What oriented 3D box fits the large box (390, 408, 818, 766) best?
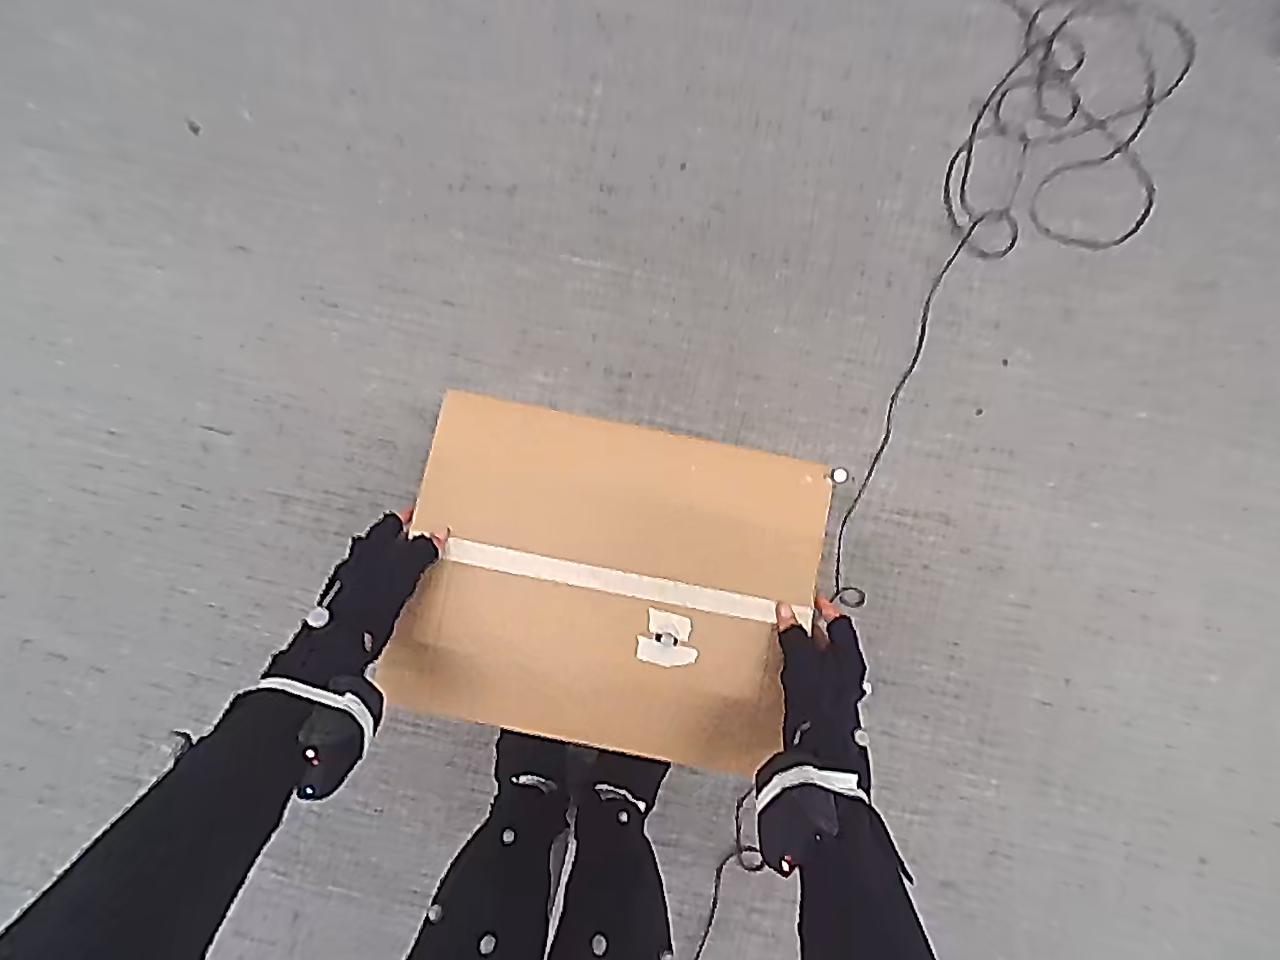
[{"bbox_3d":[-0.036,0.124,0.703,0.408,0.320,0.320,11,83,-1],"label":"large box"}]
